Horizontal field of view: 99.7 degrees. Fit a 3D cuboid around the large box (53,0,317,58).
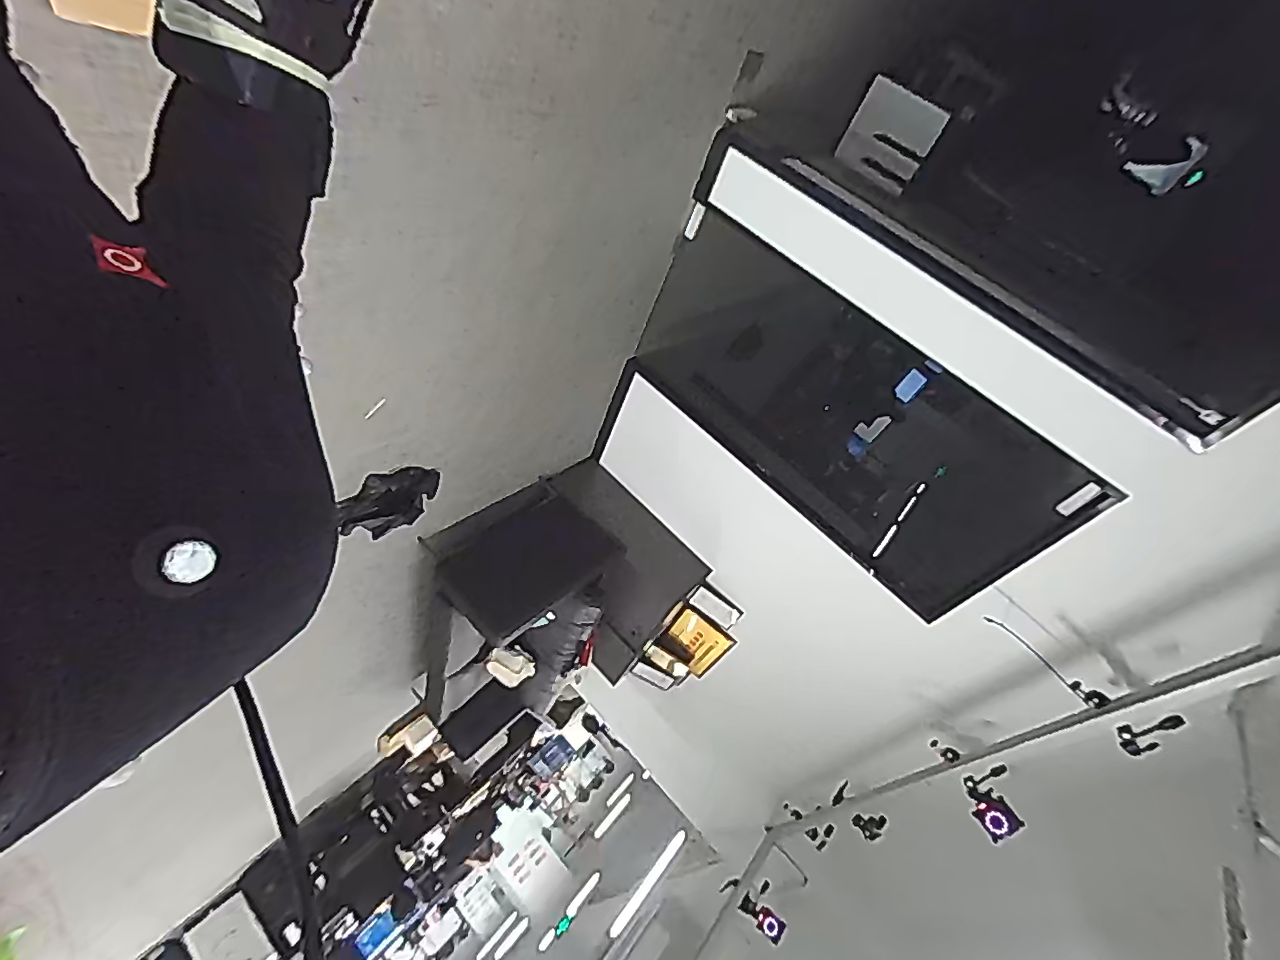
[{"bbox_3d":[-0.640,-0.850,0.667,0.320,0.320,0.408,-29,158,-45],"label":"large box"}]
